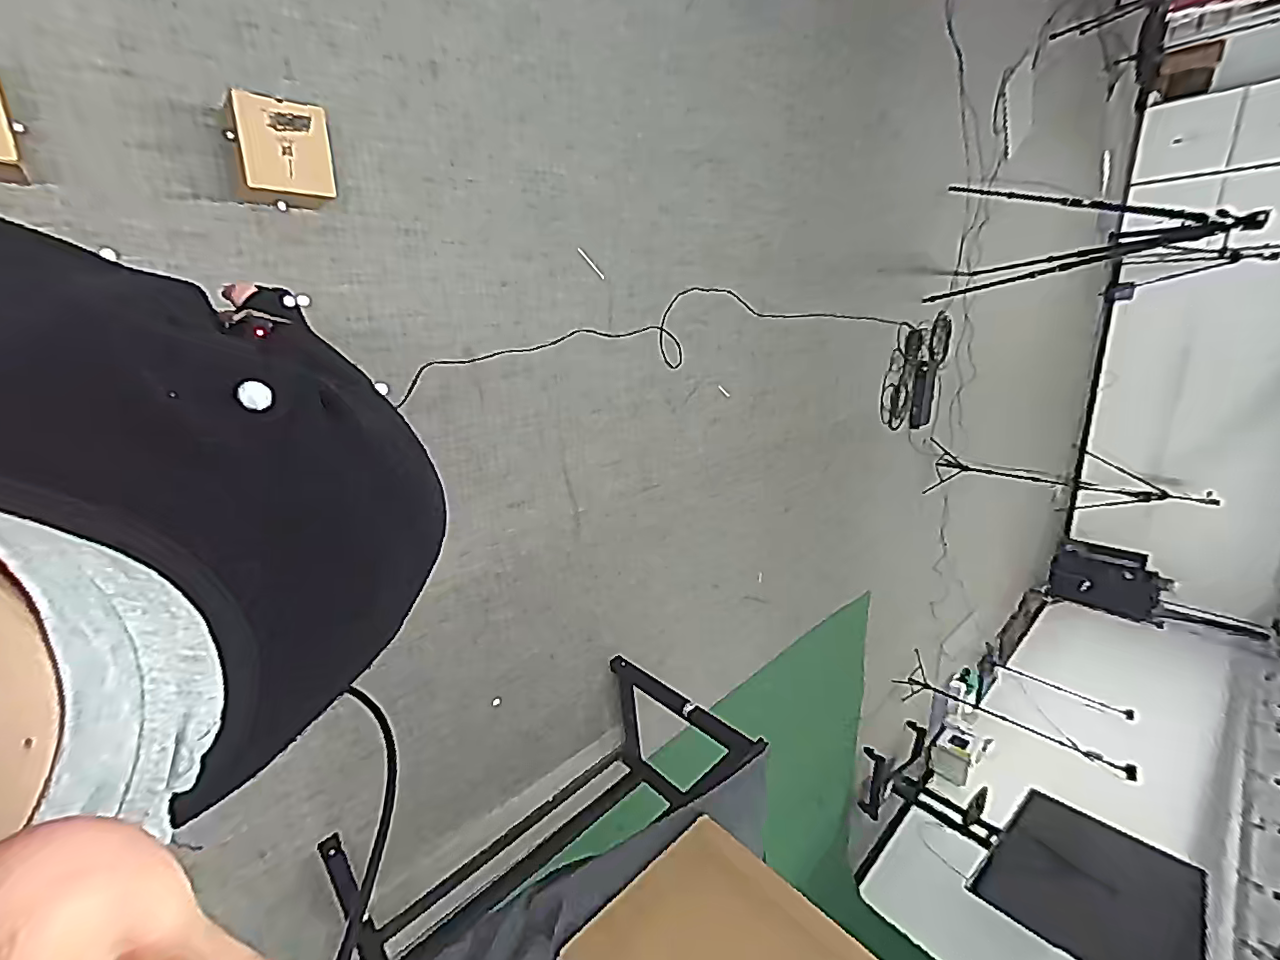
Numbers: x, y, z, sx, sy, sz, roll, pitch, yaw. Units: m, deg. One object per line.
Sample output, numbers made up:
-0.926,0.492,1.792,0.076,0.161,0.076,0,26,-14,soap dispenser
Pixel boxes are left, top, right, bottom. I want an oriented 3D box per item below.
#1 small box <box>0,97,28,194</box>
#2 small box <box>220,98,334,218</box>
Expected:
-1.144,-0.580,0.875,0.168,0.176,0.179,-16,110,-40,small box
-0.792,-0.688,1.178,0.168,0.176,0.179,-15,111,-39,small box
